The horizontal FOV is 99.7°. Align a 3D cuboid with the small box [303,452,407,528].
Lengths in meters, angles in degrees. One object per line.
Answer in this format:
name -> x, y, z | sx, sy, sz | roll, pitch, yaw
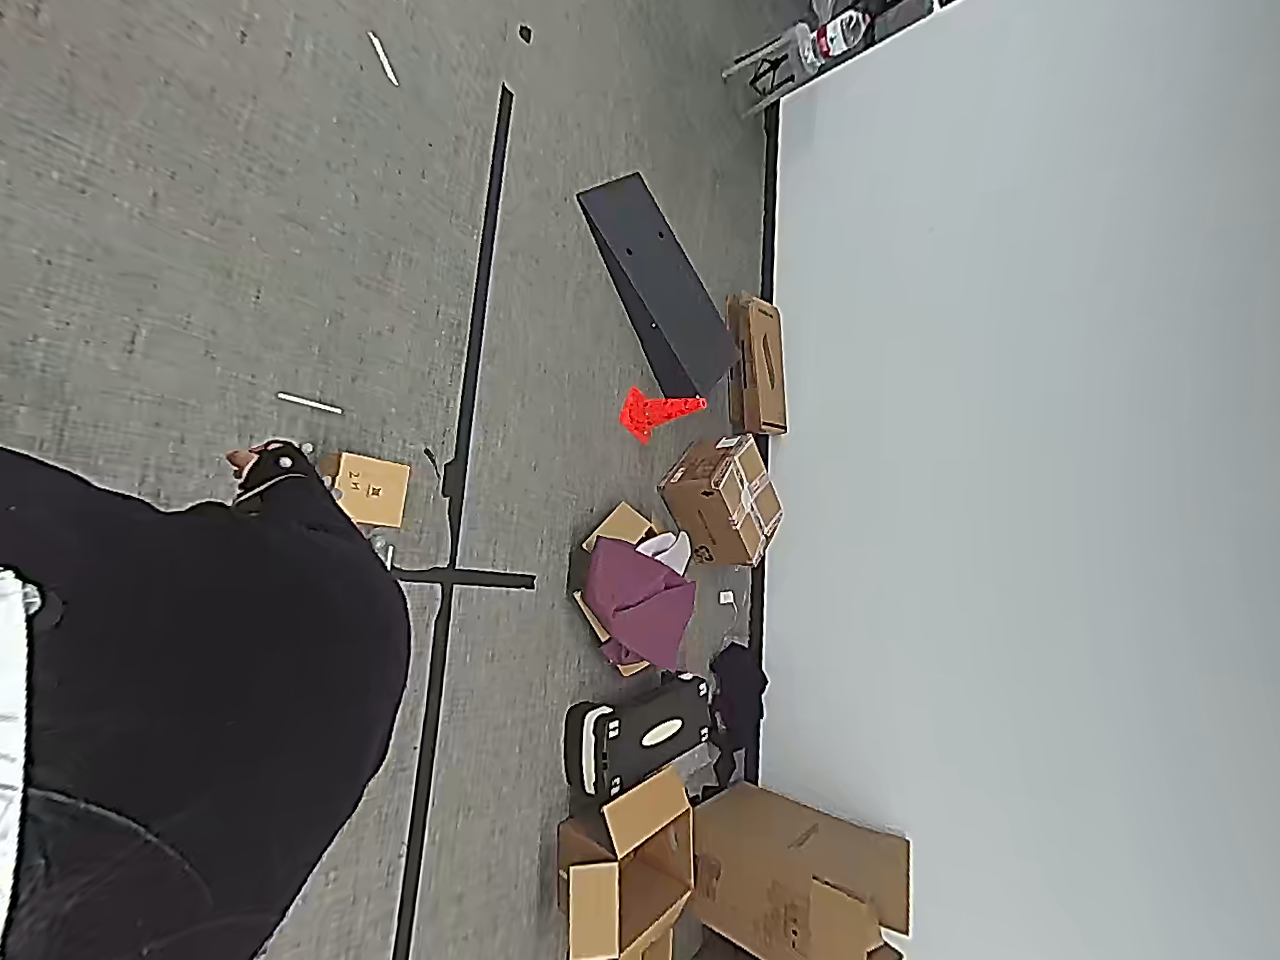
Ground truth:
small box -> -0.740, 0.032, 1.406 | 0.179, 0.176, 0.168 | 17, 73, -47
